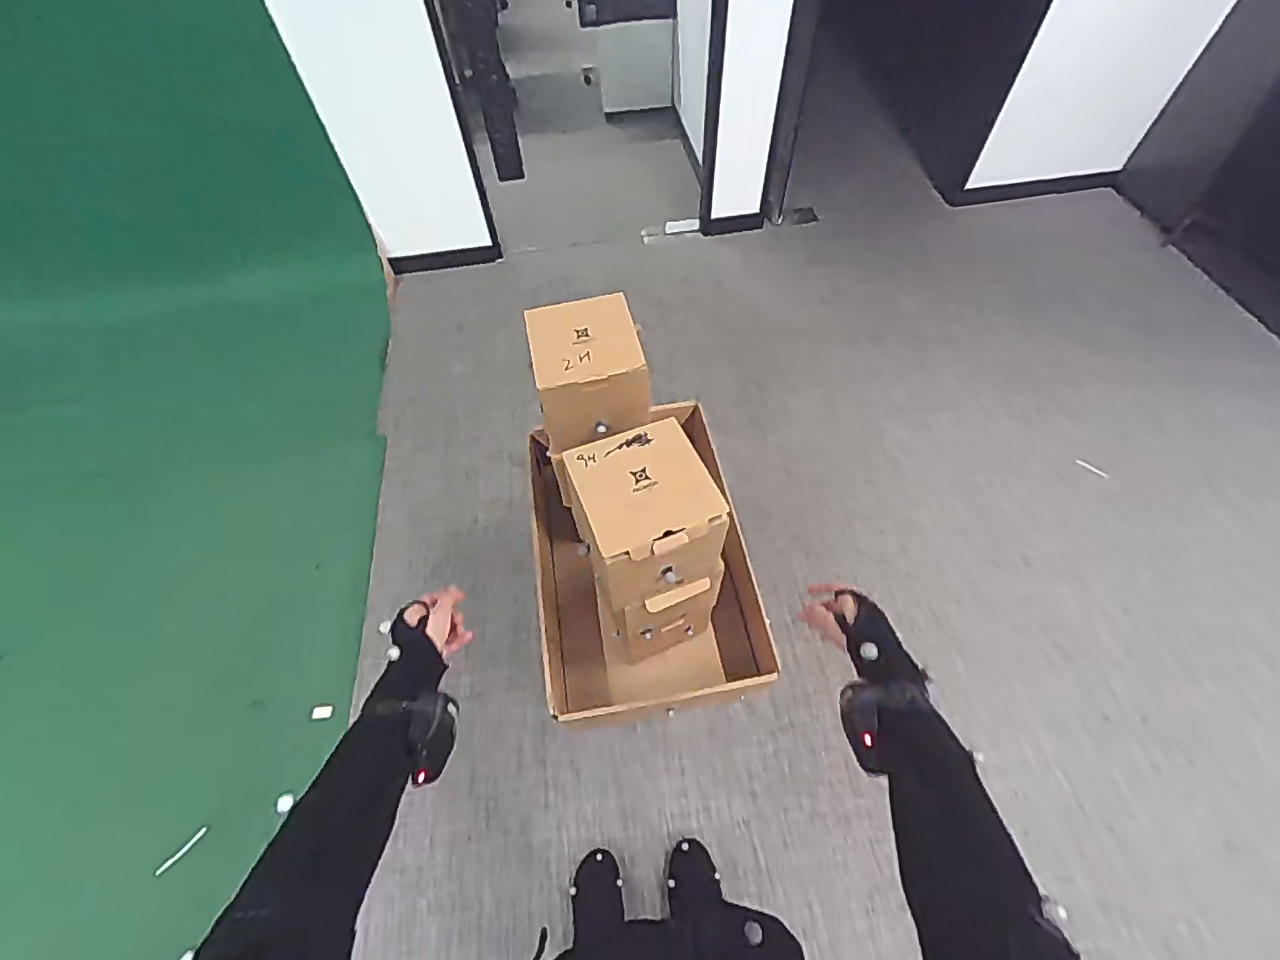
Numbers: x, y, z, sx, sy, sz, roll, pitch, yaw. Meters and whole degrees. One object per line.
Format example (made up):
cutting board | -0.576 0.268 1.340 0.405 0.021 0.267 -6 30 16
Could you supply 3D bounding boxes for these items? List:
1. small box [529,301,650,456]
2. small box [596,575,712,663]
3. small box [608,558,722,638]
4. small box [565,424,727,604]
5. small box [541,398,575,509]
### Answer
small box | -0.081 -0.166 0.904 0.168 0.176 0.179 -12 58 -4
small box | 0.023 0.231 1.035 0.168 0.176 0.179 -20 58 -11
small box | 0.021 0.144 0.897 0.168 0.176 0.179 -20 57 -12
small box | 0.005 0.057 0.757 0.168 0.176 0.179 -18 59 -11
small box | -0.078 -0.067 1.036 0.179 0.176 0.168 -14 58 -5
